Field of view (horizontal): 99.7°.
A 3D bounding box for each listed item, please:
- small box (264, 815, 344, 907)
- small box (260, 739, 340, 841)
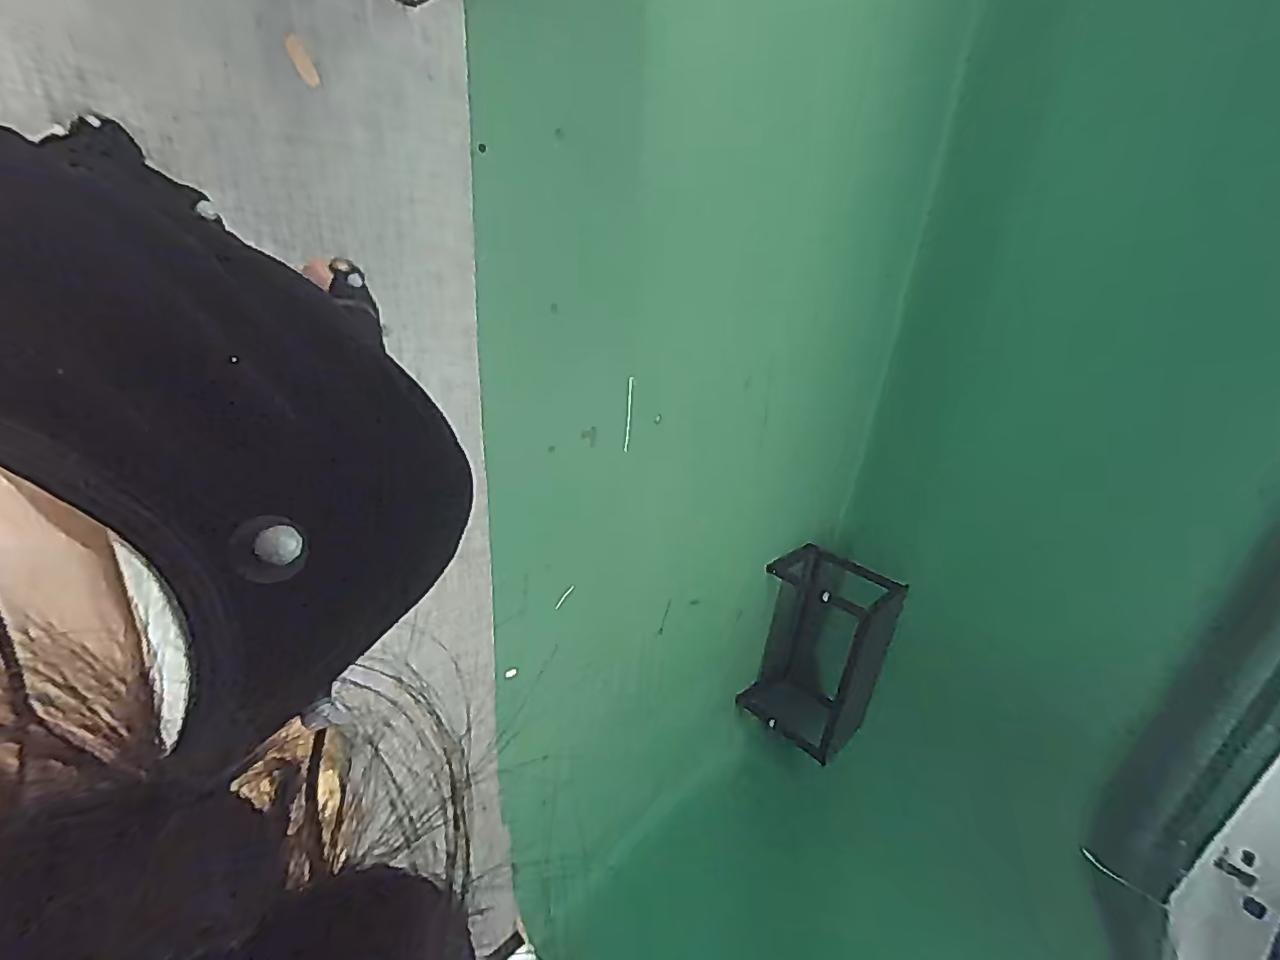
[{"bbox_3d":[-1.060,1.171,1.707,0.179,0.176,0.168,-10,117,-45],"label":"small box"},{"bbox_3d":[-1.017,0.912,1.616,0.168,0.176,0.179,-12,118,-44],"label":"small box"}]
